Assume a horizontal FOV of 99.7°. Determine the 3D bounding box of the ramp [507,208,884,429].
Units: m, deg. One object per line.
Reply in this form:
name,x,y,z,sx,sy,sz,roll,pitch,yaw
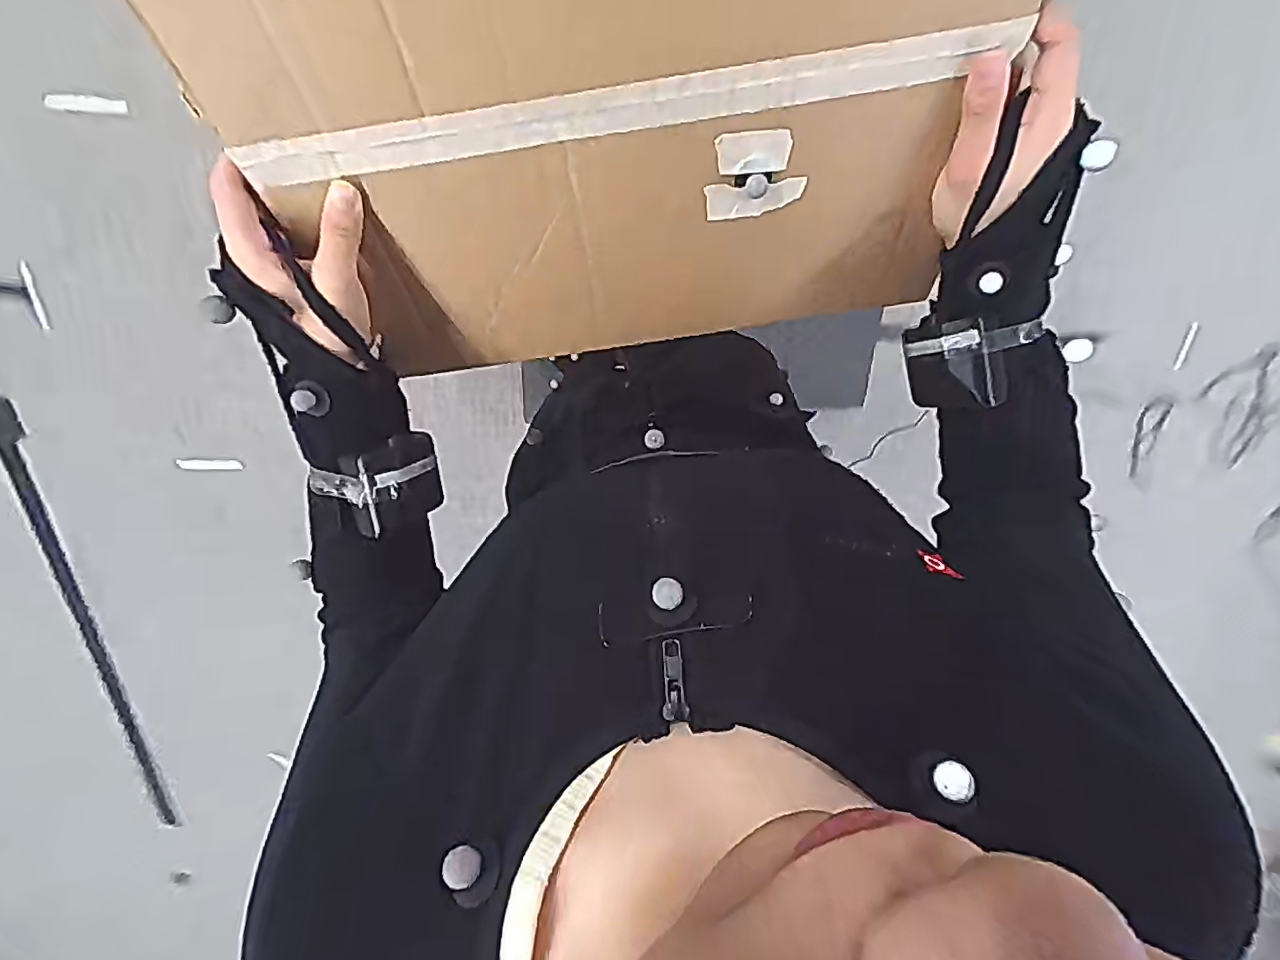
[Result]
ramp,0.179,-0.400,1.384,0.991,0.206,0.509,-3,112,-8
